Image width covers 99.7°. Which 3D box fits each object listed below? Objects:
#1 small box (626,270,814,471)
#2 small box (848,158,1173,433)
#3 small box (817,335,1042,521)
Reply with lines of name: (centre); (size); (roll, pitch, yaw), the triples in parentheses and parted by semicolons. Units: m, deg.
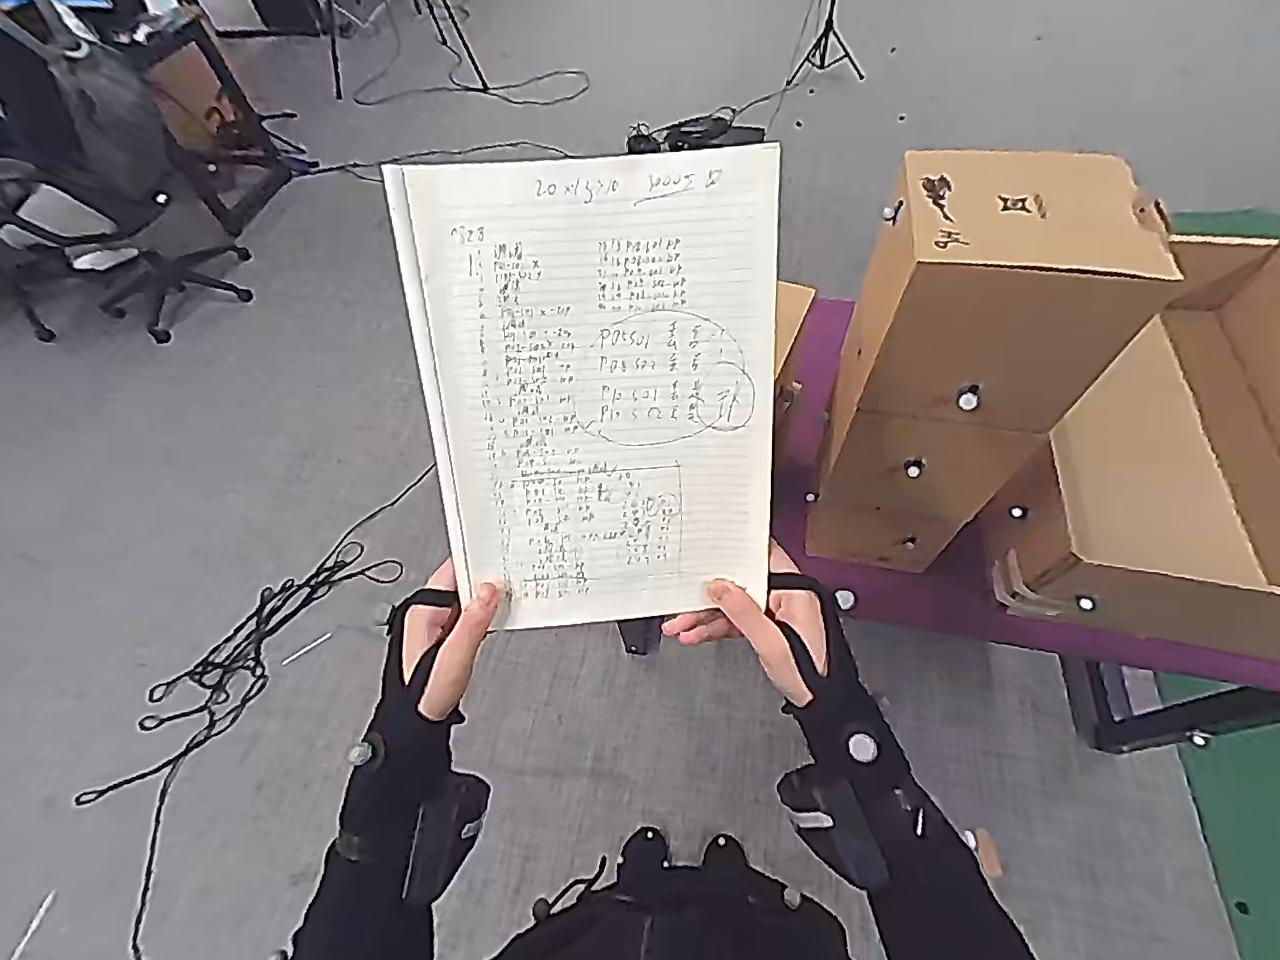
small box: (0.102, -0.135, 0.694); (0.179, 0.176, 0.168); (19, 60, 18)
small box: (0.304, -0.162, 0.493); (0.179, 0.176, 0.168); (9, 56, 10)
small box: (0.316, -0.069, 0.628); (0.179, 0.176, 0.168); (9, 56, 11)
